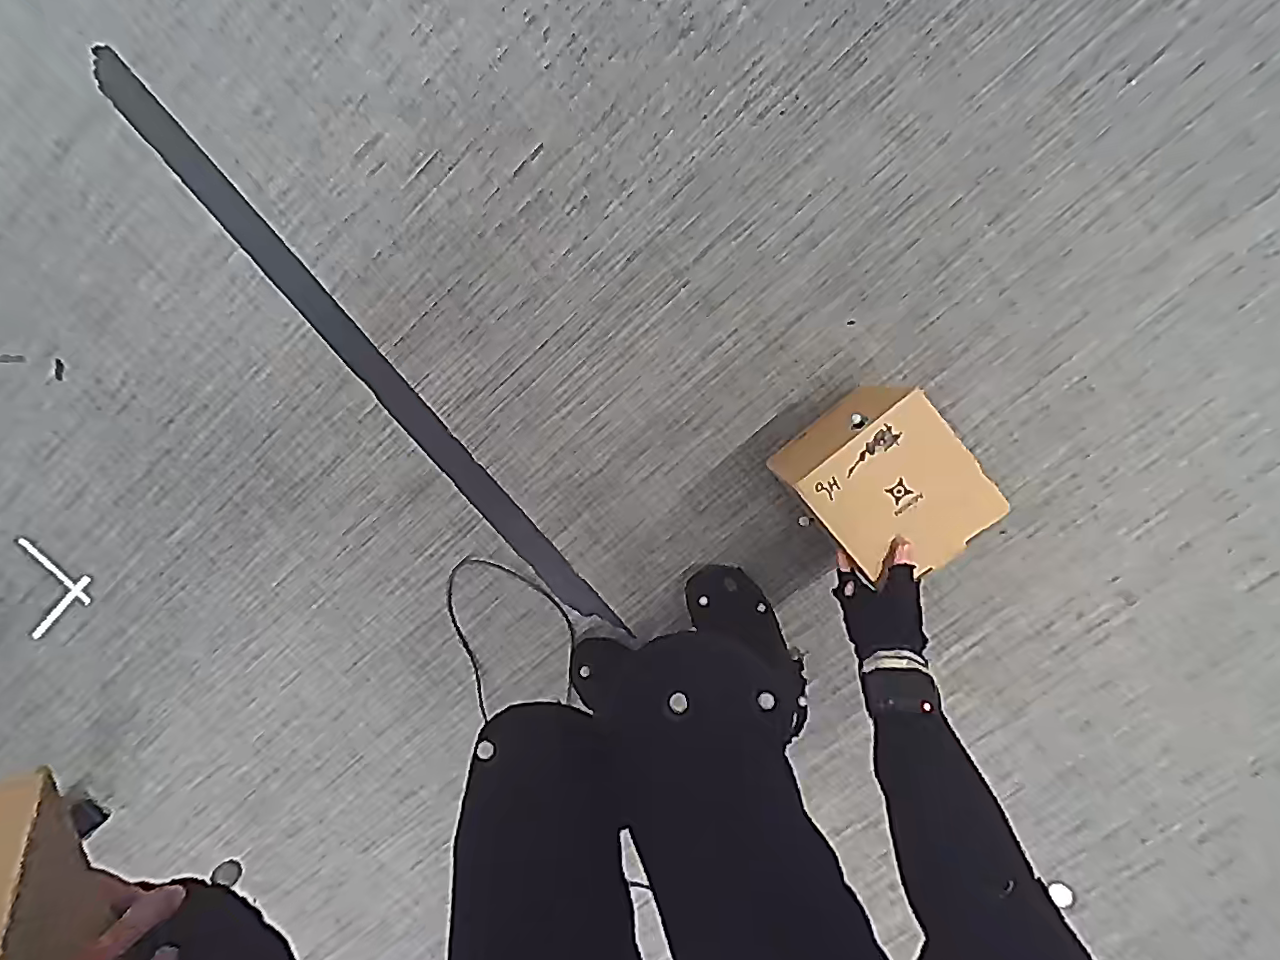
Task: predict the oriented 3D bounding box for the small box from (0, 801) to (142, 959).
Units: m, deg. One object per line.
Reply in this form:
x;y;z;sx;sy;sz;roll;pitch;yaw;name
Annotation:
-0.291;0.237;0.162;0.179;0.168;0.176;-10;120;-35;small box

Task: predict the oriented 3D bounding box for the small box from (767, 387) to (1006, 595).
0.283;0.000;0.662;0.168;0.176;0.179;-41;97;9;small box
